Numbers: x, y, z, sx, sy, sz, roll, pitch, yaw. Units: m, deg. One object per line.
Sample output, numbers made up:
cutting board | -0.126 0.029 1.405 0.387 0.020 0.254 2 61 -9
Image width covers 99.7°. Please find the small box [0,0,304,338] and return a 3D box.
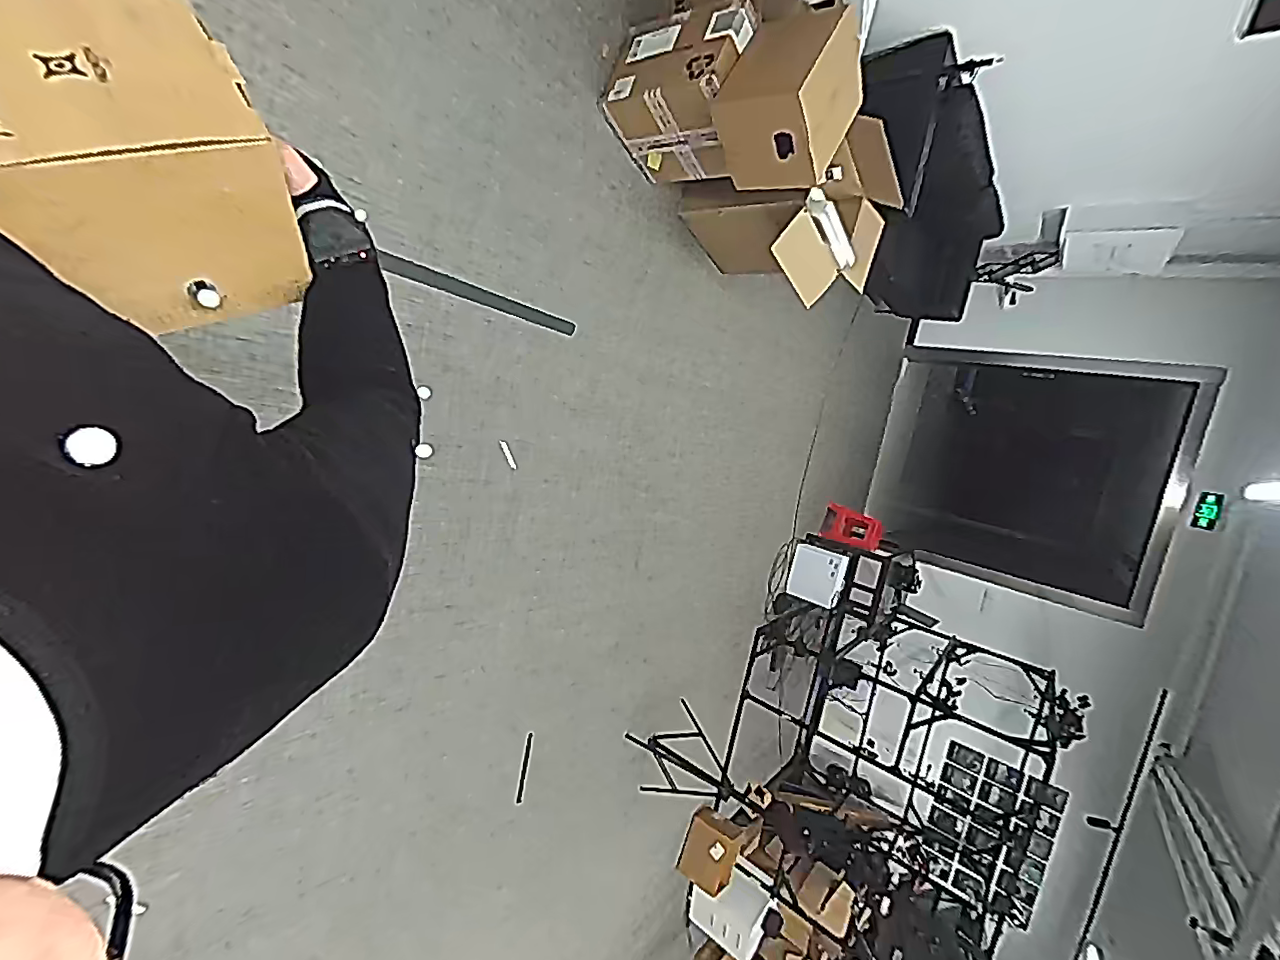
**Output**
small box | -0.410 -0.250 0.452 0.179 0.168 0.176 -28 168 -29
